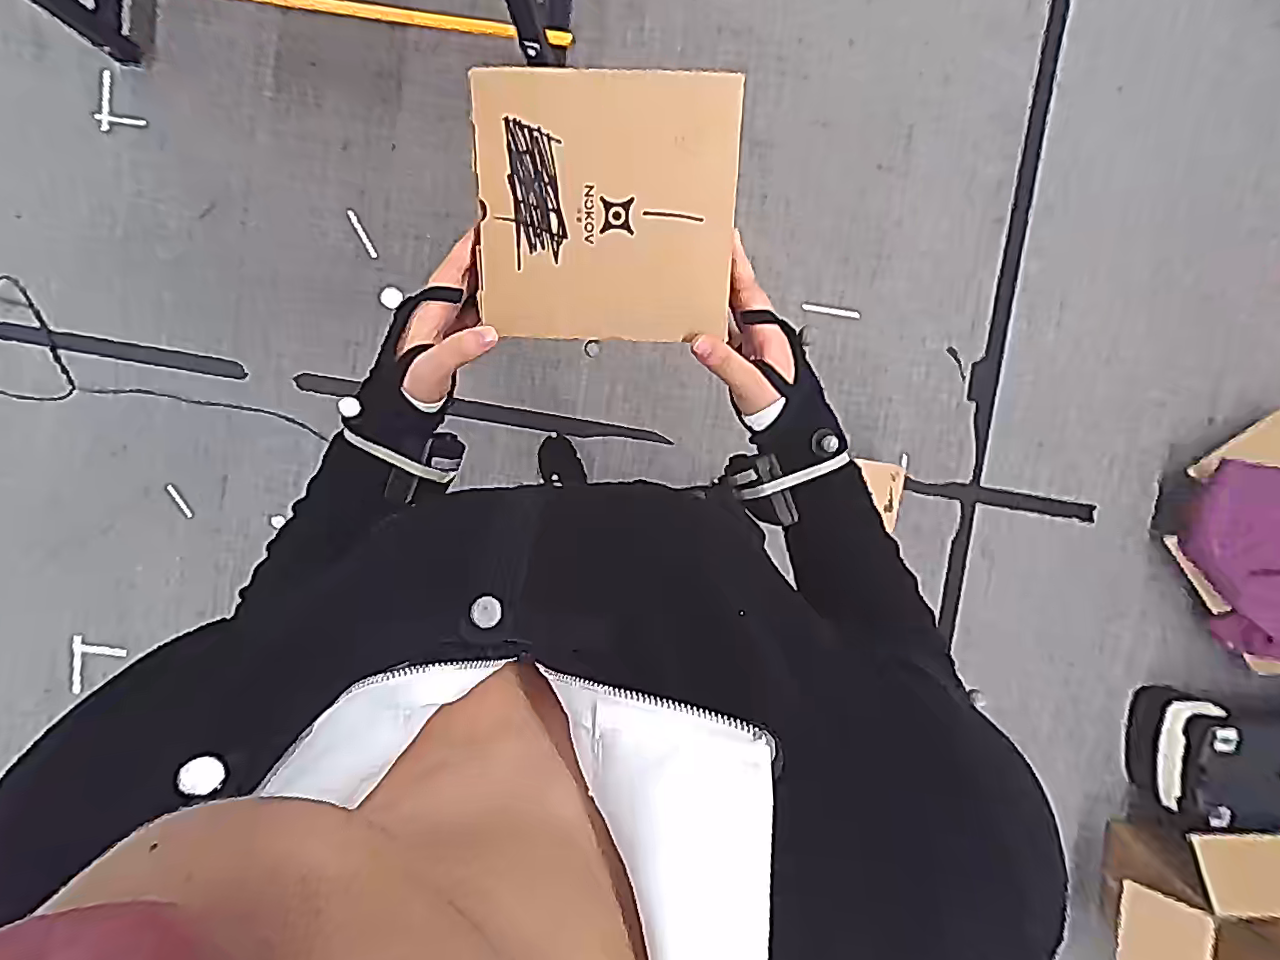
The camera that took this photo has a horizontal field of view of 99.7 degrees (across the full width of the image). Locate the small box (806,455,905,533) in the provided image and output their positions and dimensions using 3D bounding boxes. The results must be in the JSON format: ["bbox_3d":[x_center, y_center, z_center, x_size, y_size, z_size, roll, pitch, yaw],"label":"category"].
[{"bbox_3d":[0.546,0.030,1.397,0.179,0.176,0.168,10,95,1],"label":"small box"}]

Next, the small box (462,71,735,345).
[{"bbox_3d":[-0.027,-0.197,0.438,0.179,0.176,0.168,2,106,0],"label":"small box"}]
